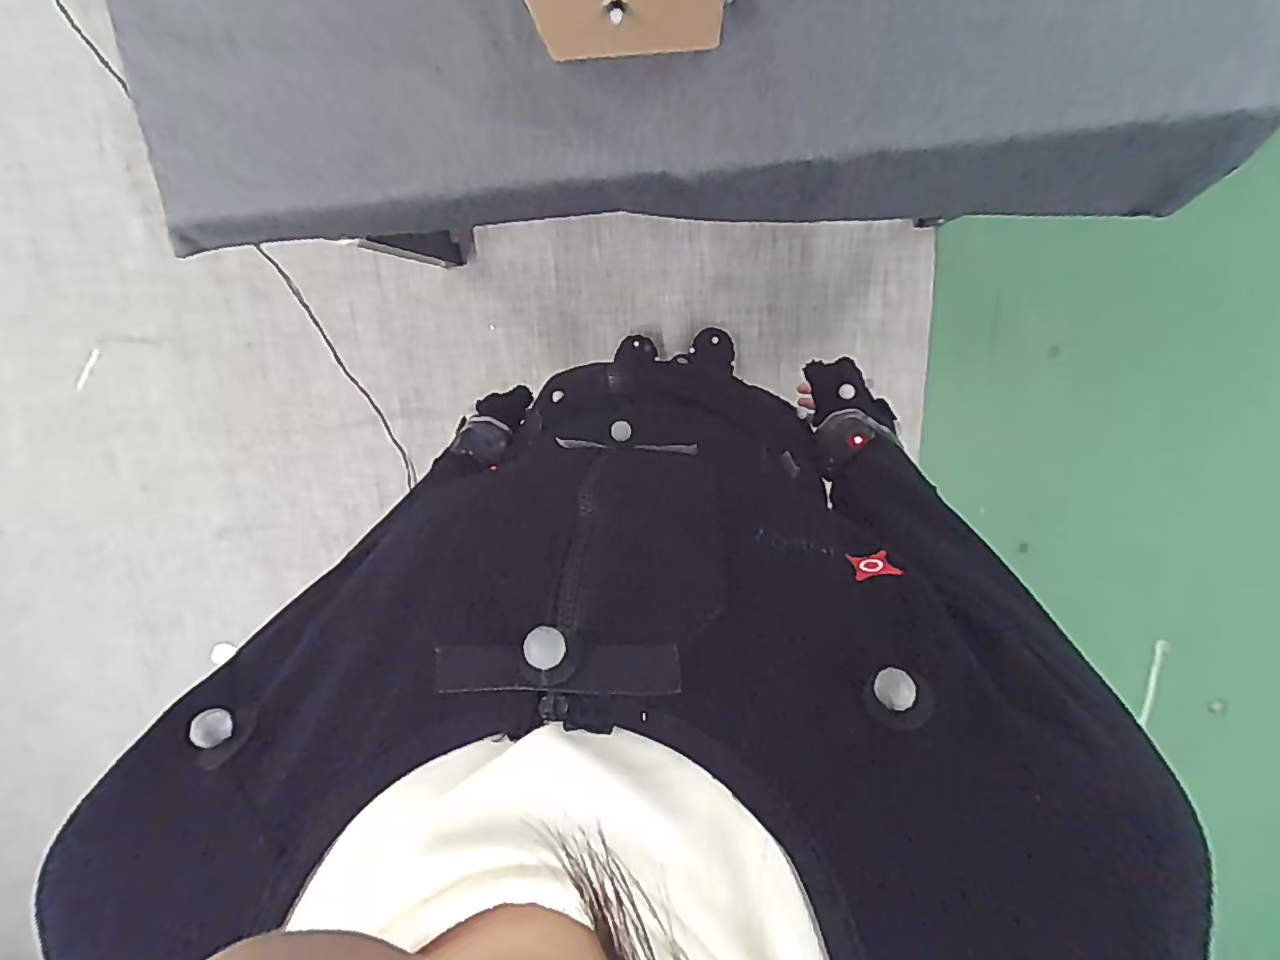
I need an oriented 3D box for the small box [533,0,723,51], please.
[{"bbox_3d":[-0.011,-0.504,0.461,0.179,0.176,0.168,0,106,6],"label":"small box"}]
